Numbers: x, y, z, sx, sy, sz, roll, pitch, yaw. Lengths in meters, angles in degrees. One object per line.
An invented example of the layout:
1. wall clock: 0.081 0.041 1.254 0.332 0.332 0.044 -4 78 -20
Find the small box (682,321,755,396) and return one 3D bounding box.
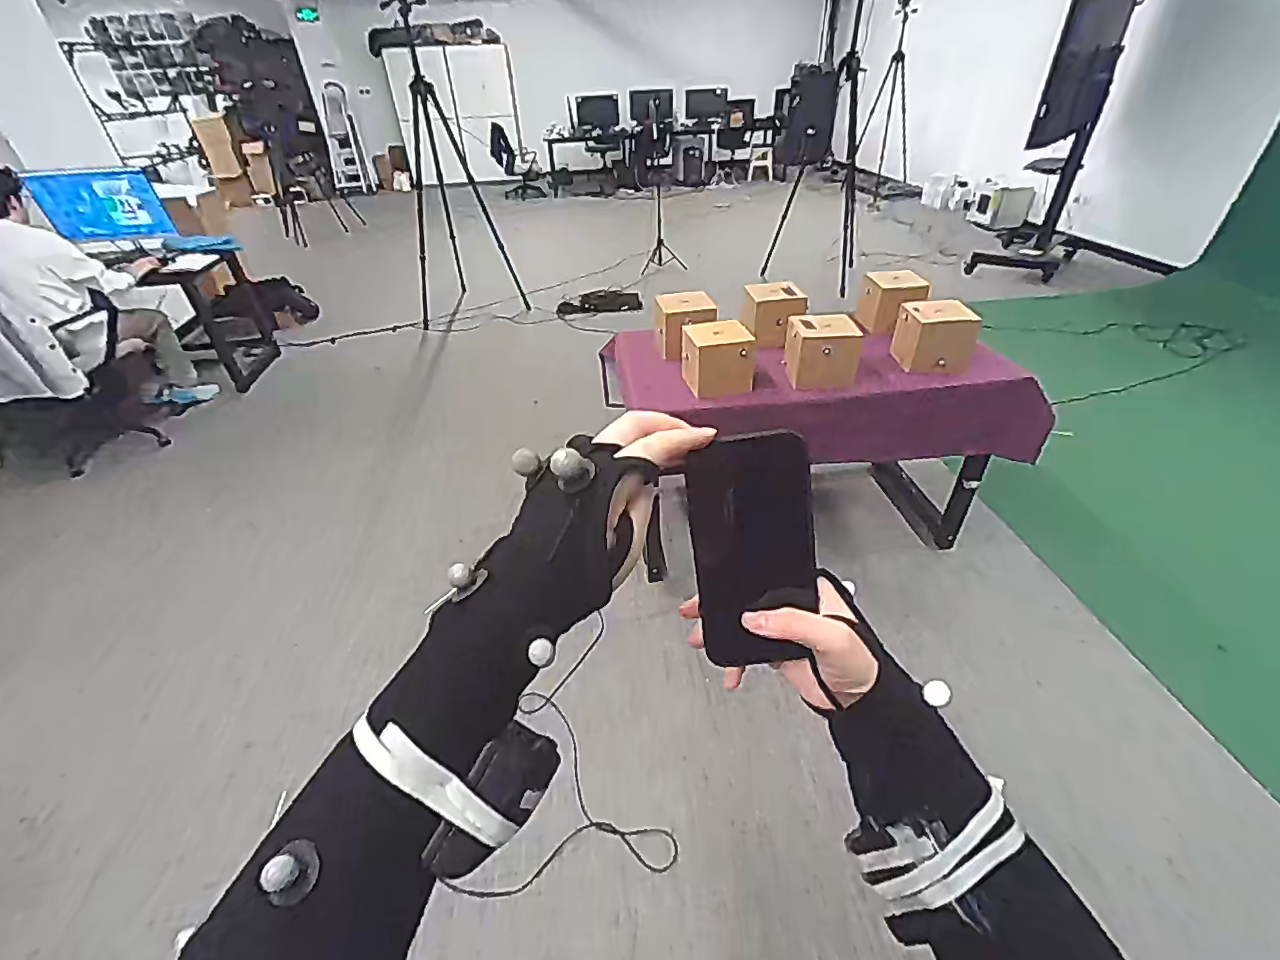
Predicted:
1. small box: 0.230 -0.362 1.625 0.179 0.176 0.168 -8 37 -9

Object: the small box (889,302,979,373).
1. small box: 0.906 -0.443 1.683 0.179 0.176 0.168 -1 37 2

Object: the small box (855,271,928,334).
1. small box: 0.888 -0.633 1.932 0.168 0.176 0.179 -4 38 0

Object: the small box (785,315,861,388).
1. small box: 0.543 -0.386 1.633 0.179 0.176 0.168 -1 37 1
